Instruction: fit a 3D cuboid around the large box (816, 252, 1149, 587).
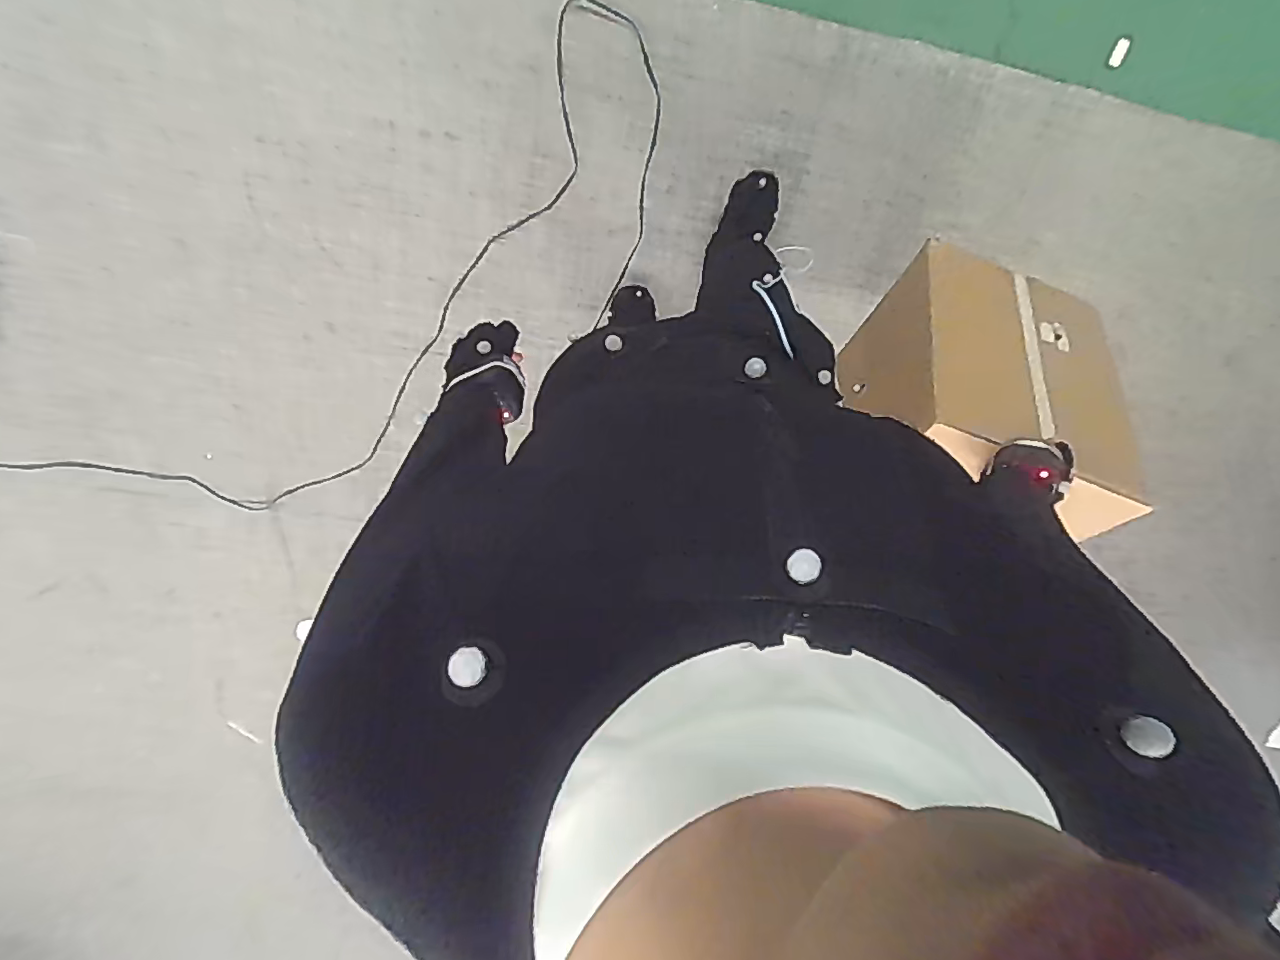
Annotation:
[{"bbox_3d":[0.518,-0.091,0.907,0.320,0.408,0.320,21,146,-4],"label":"large box"}]
